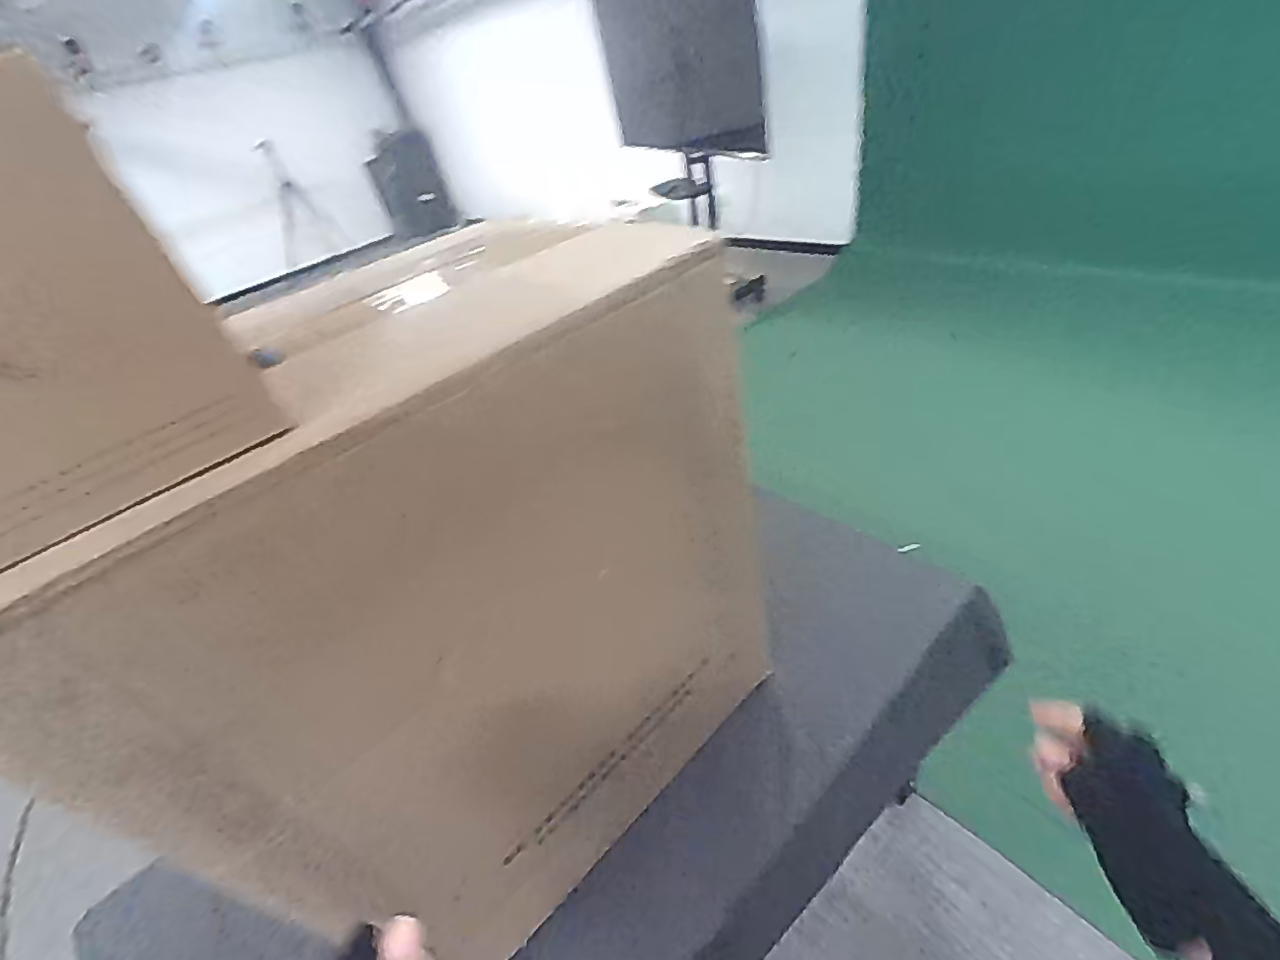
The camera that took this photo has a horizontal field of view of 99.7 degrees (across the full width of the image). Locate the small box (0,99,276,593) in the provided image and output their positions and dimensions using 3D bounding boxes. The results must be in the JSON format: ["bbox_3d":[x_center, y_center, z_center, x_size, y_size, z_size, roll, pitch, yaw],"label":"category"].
[{"bbox_3d":[-0.317,-0.065,0.263,0.168,0.176,0.179,26,52,38],"label":"small box"}]
